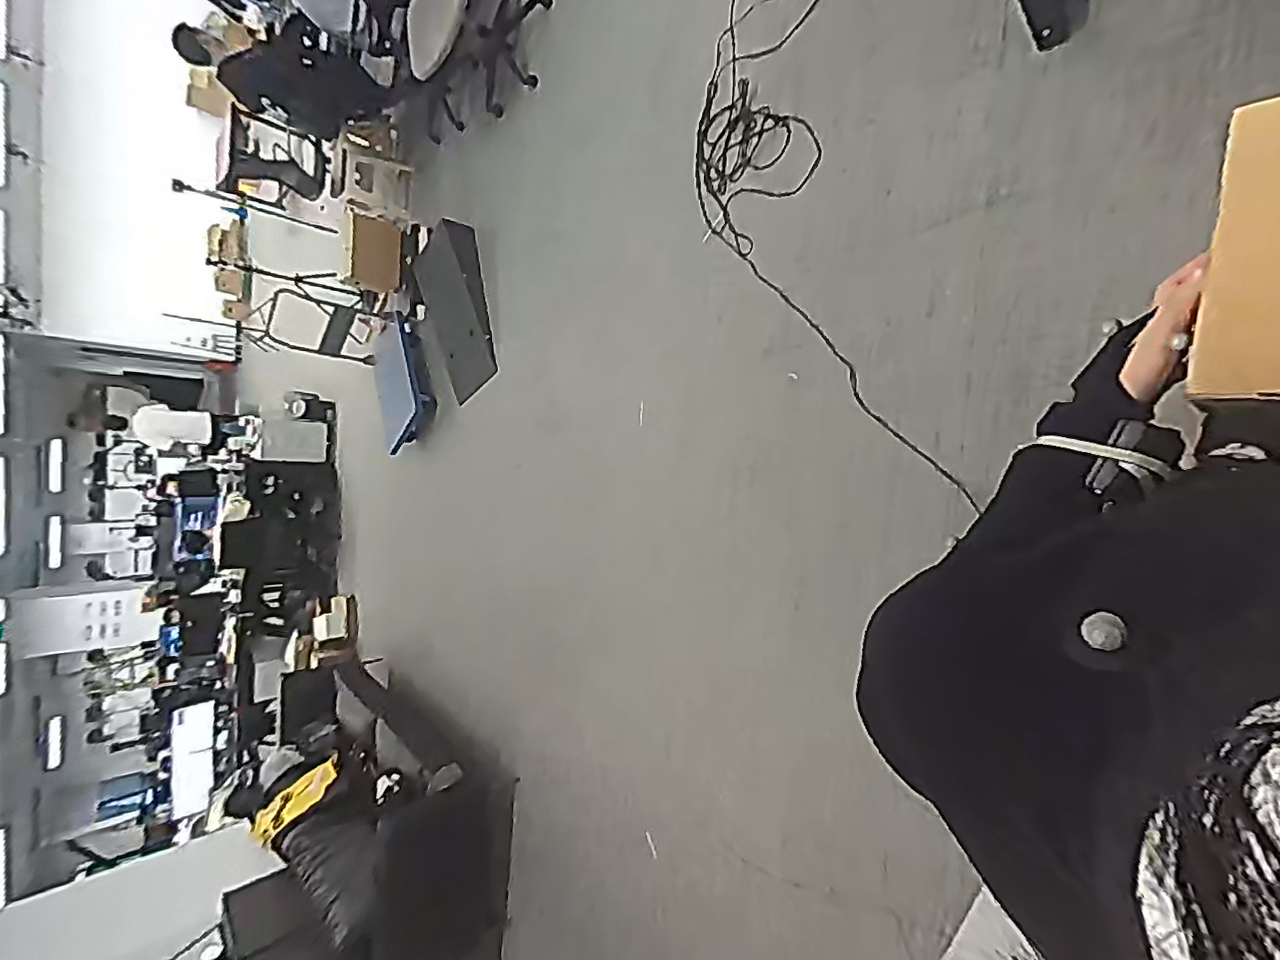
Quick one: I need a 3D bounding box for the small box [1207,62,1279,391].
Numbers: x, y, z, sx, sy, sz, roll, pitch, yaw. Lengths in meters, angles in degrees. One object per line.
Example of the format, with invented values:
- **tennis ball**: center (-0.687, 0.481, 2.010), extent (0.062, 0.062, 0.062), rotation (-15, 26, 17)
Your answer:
- **small box**: center (0.464, -0.145, 0.317), extent (0.168, 0.176, 0.179), rotation (9, 100, 47)
